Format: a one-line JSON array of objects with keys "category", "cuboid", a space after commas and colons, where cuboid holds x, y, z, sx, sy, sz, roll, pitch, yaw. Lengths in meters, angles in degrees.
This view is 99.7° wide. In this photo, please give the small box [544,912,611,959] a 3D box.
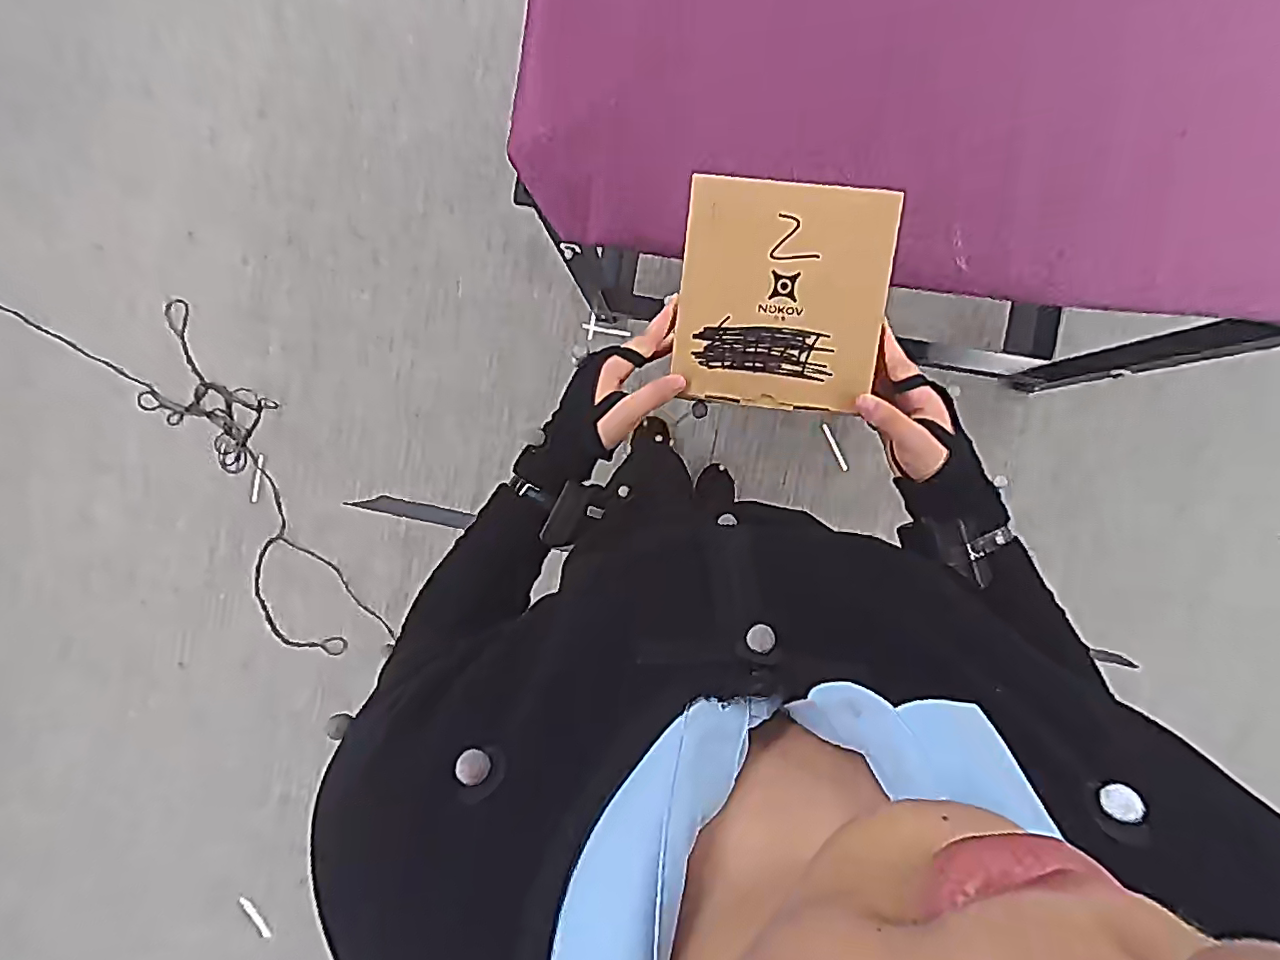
[{"category": "small box", "cuboid": [-0.181, 1.323, 1.448, 0.168, 0.176, 0.179, 15, 93, 1]}]

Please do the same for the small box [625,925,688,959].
[{"category": "small box", "cuboid": [0.036, 1.341, 1.435, 0.168, 0.176, 0.179, 8, 93, 4]}]
